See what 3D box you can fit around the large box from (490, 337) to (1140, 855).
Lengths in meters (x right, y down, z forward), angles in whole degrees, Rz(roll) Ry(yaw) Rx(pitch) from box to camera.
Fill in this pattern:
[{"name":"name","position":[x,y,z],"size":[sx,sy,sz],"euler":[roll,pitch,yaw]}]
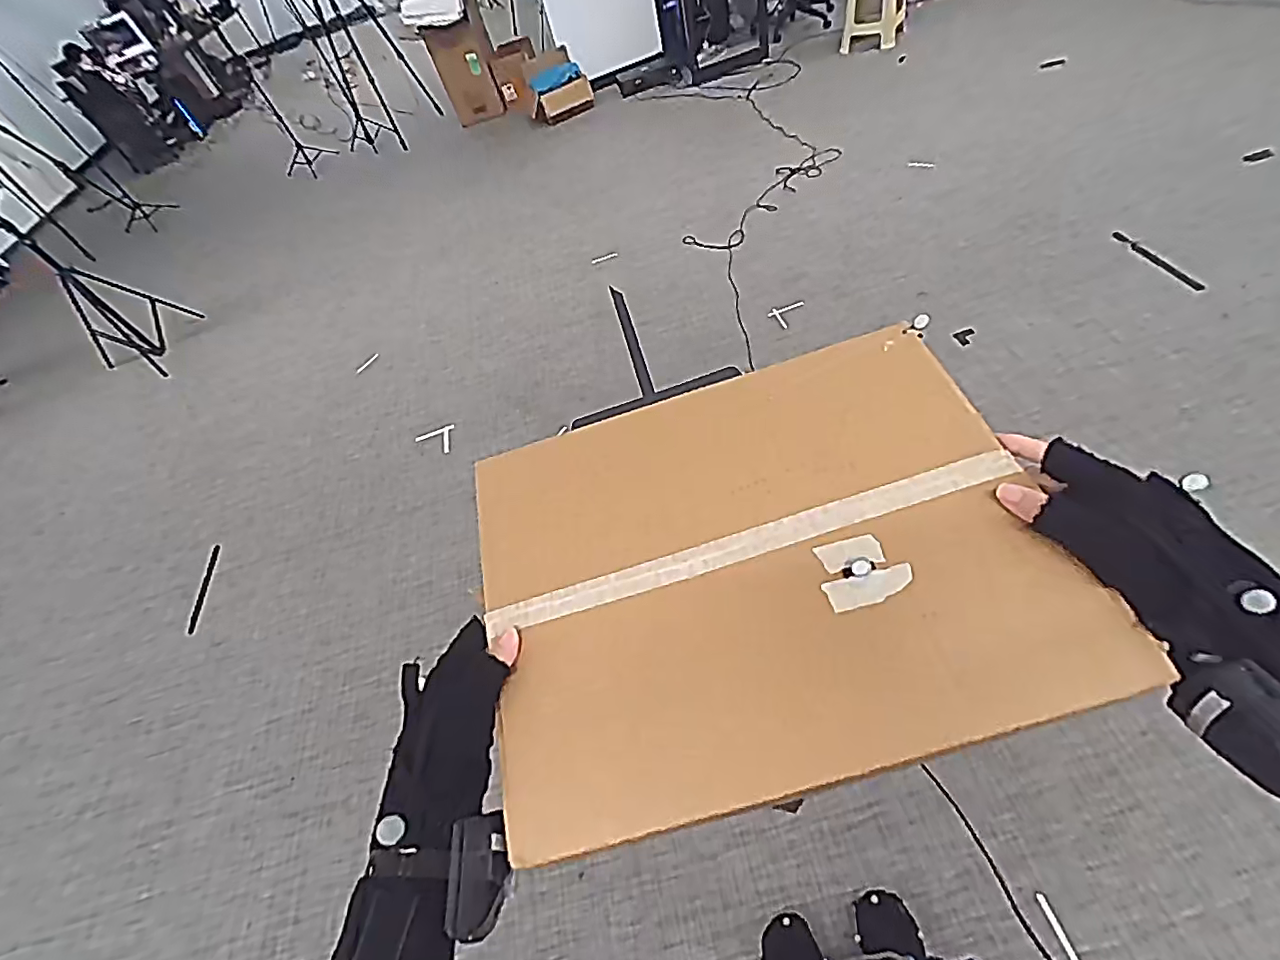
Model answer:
[{"name":"large box","position":[0.111,0.129,0.539],"size":[0.408,0.320,0.320],"euler":[-18,58,2]}]
